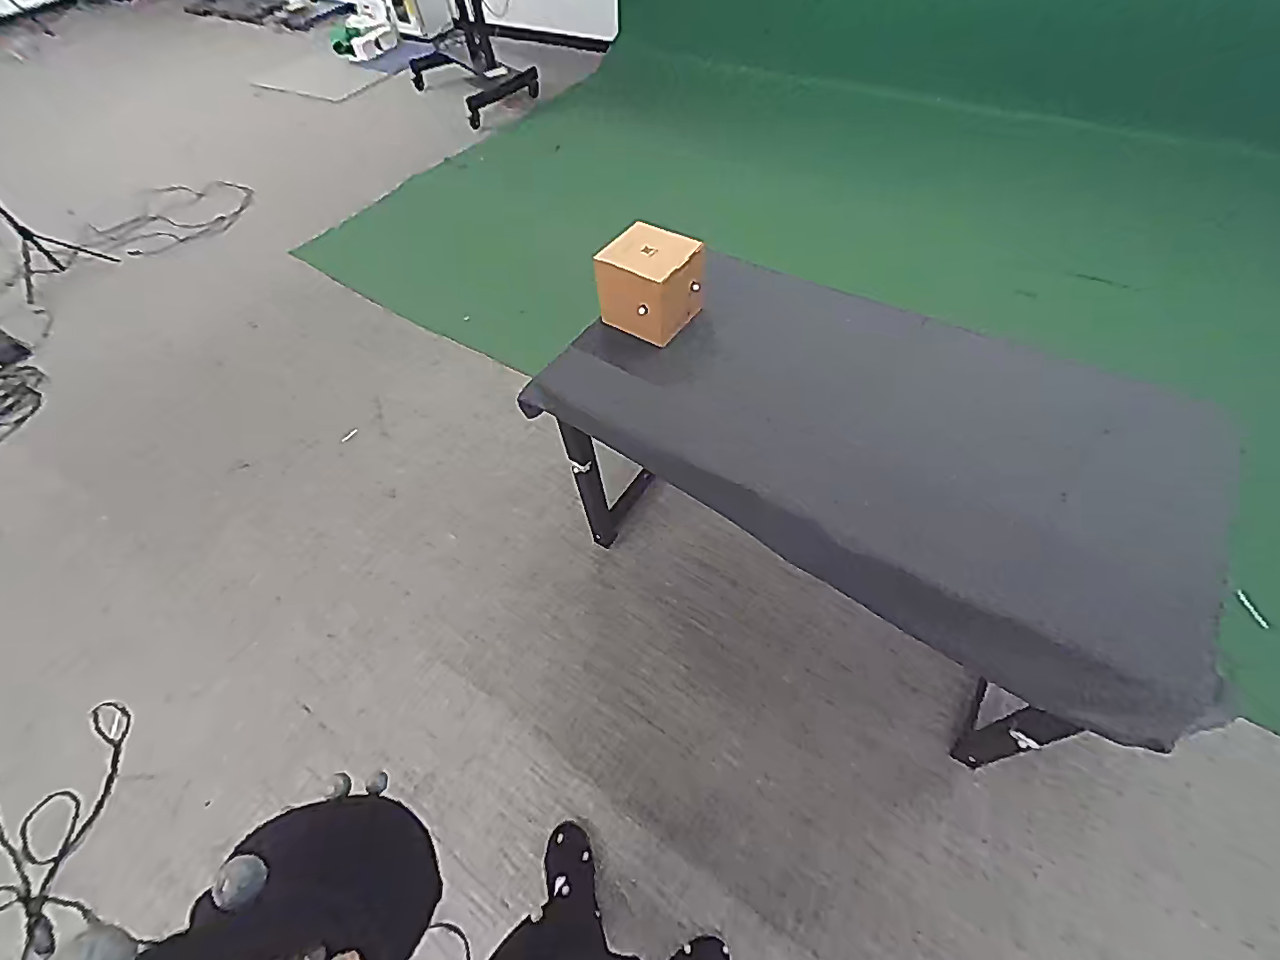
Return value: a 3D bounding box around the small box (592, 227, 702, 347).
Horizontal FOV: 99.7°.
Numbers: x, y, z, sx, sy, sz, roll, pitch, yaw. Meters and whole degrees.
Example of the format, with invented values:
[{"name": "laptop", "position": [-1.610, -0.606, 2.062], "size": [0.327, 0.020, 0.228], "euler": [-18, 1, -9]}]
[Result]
[{"name": "small box", "position": [0.020, -0.421, 1.196], "size": [0.179, 0.176, 0.168], "euler": [31, 60, 23]}]
